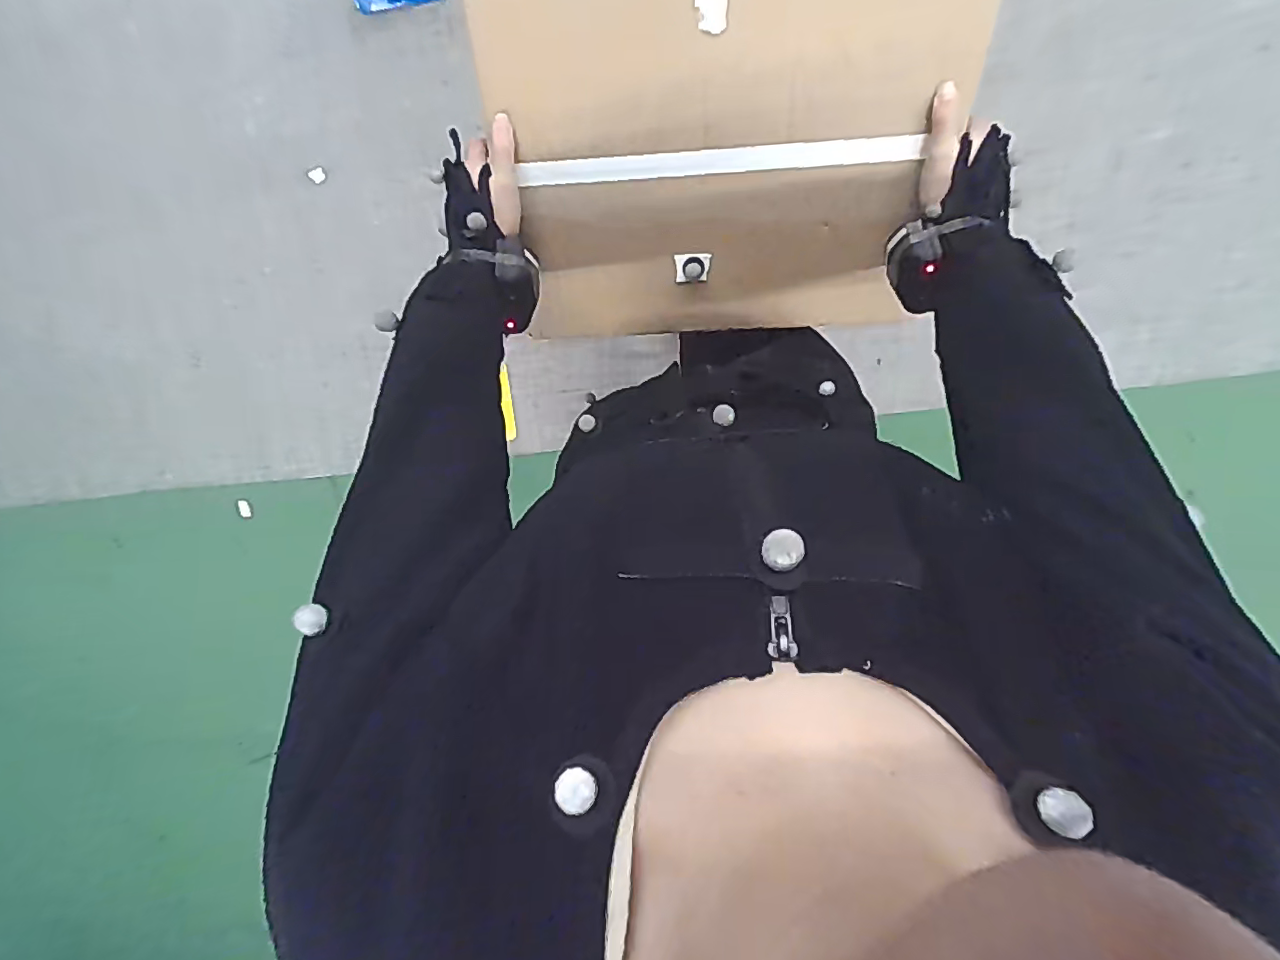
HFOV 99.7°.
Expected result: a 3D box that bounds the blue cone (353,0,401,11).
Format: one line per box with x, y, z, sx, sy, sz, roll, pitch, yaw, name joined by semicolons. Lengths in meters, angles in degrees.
-0.505;-0.985;0.891;0.192;0.380;0.193;-5;108;6;blue cone
